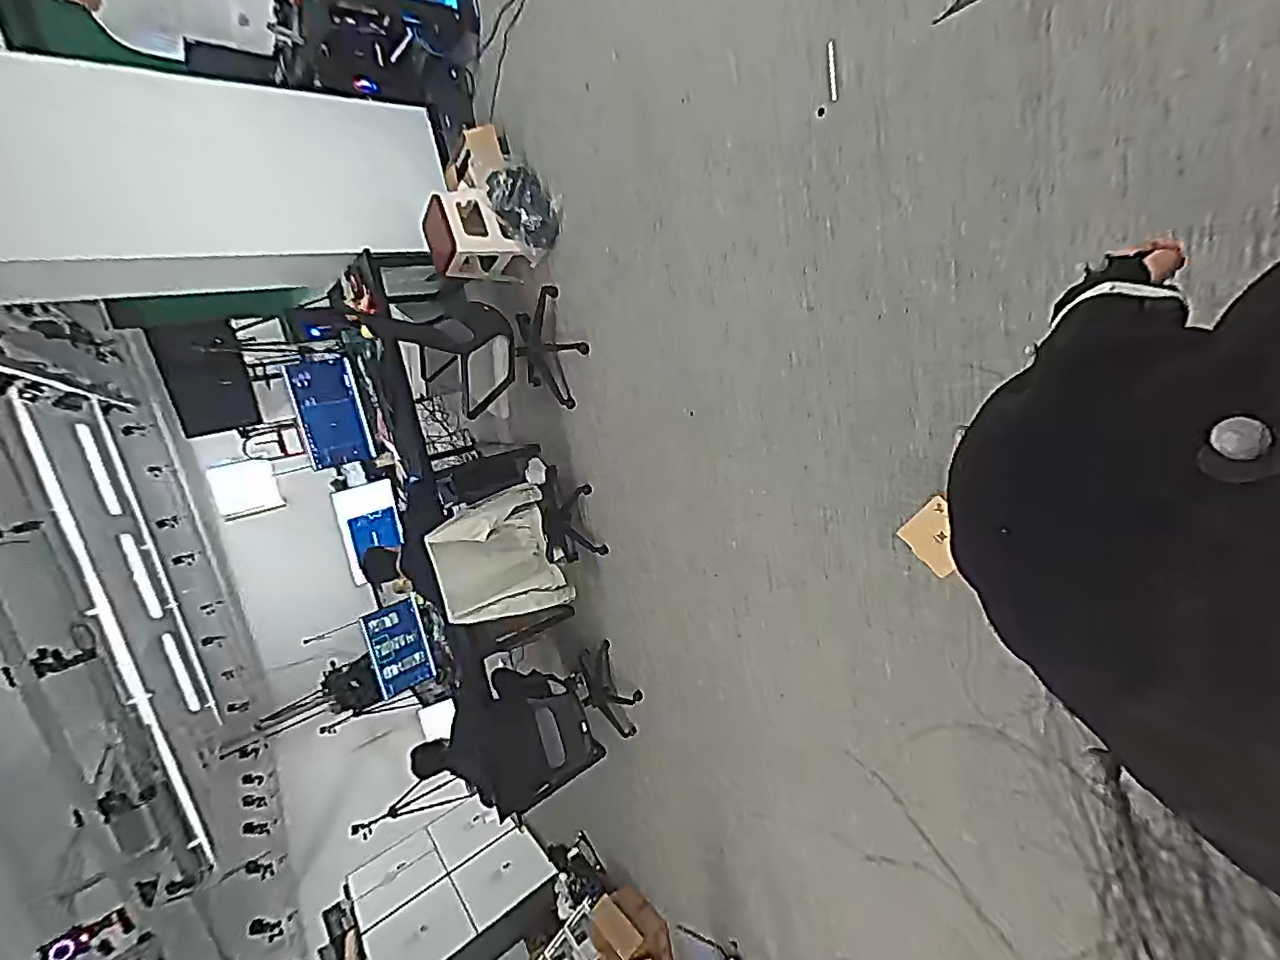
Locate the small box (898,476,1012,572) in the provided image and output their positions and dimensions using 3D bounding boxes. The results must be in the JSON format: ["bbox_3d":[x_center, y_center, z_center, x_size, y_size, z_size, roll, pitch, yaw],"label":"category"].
[{"bbox_3d":[0.848,0.116,1.455,0.168,0.176,0.179,53,142,25],"label":"small box"}]
